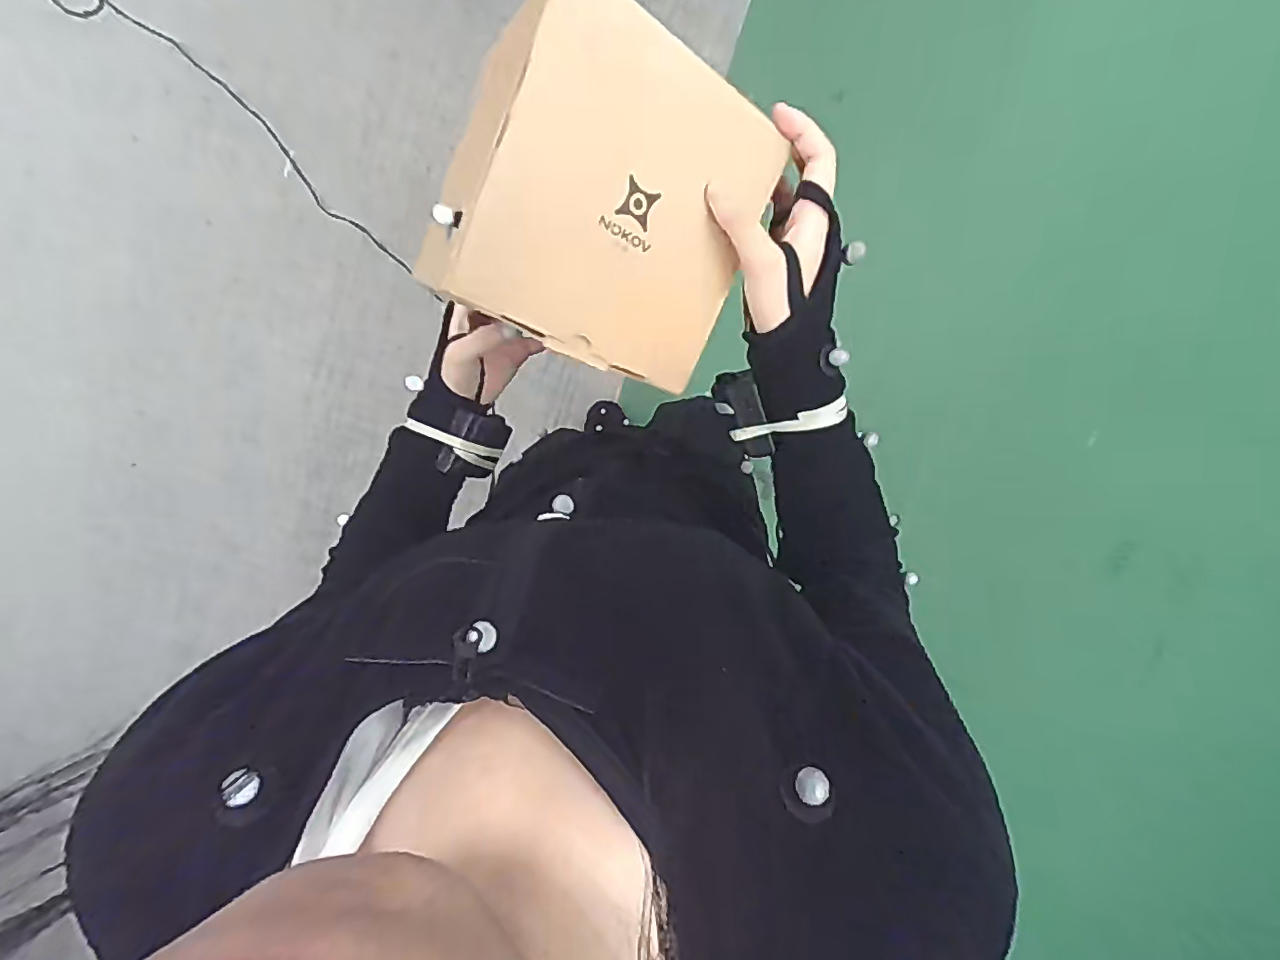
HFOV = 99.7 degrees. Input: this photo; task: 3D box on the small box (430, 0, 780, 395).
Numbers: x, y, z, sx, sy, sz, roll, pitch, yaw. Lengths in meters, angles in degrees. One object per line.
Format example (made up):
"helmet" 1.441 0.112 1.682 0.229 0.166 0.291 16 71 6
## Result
"small box" -0.041 -0.183 0.387 0.168 0.176 0.179 14 104 -32
